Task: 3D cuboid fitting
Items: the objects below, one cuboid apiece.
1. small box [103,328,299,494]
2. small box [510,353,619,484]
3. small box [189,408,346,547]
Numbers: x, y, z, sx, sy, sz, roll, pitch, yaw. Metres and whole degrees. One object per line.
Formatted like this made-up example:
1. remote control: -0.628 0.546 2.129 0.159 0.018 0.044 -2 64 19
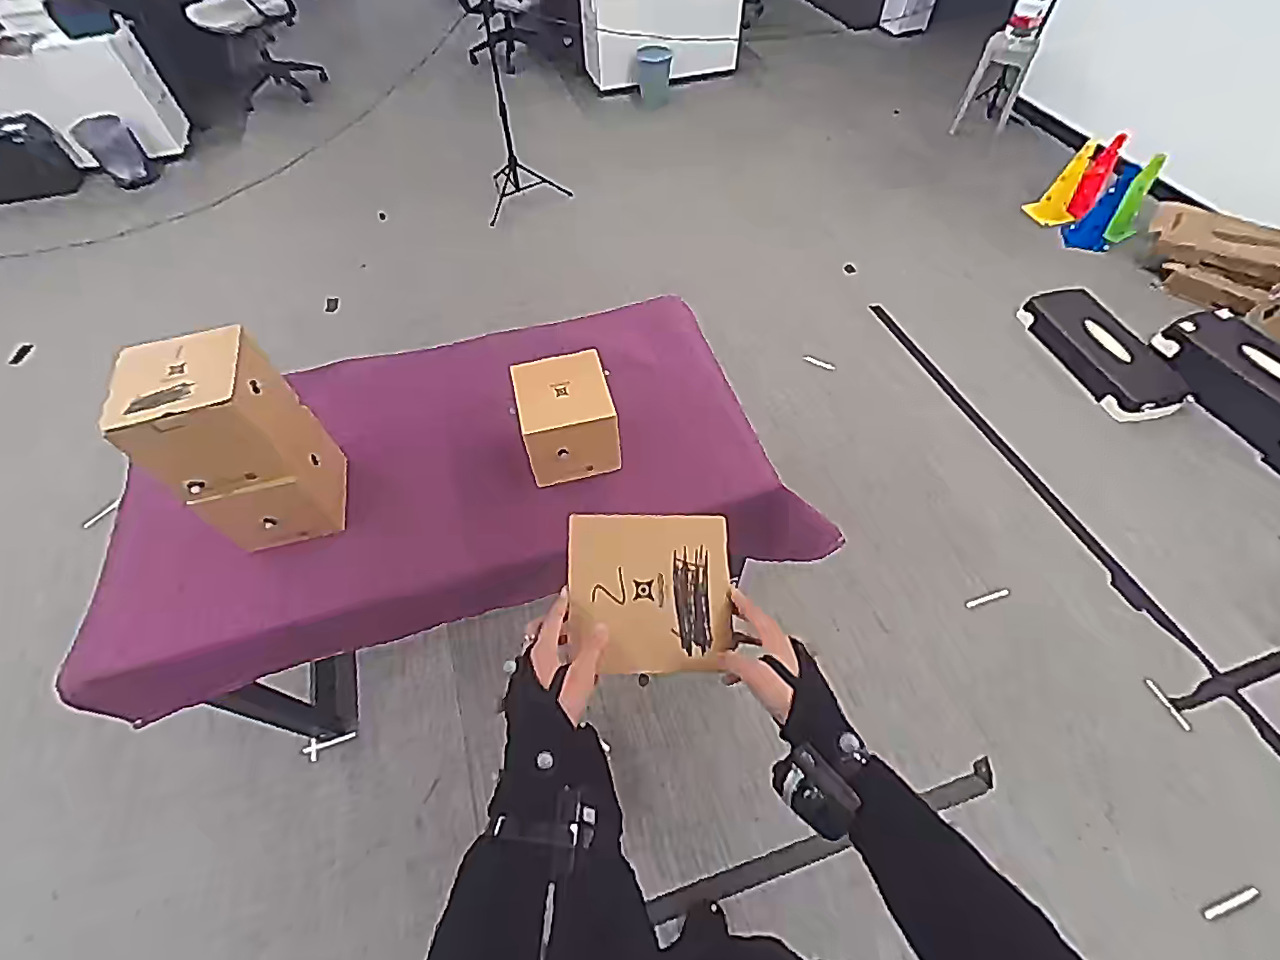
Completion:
1. small box: -0.652 -0.098 0.830 0.168 0.176 0.179 -16 56 -11
2. small box: -0.140 -0.109 1.034 0.168 0.176 0.179 -13 56 -8
3. small box: -0.643 0.003 0.960 0.168 0.176 0.179 -13 56 -9
